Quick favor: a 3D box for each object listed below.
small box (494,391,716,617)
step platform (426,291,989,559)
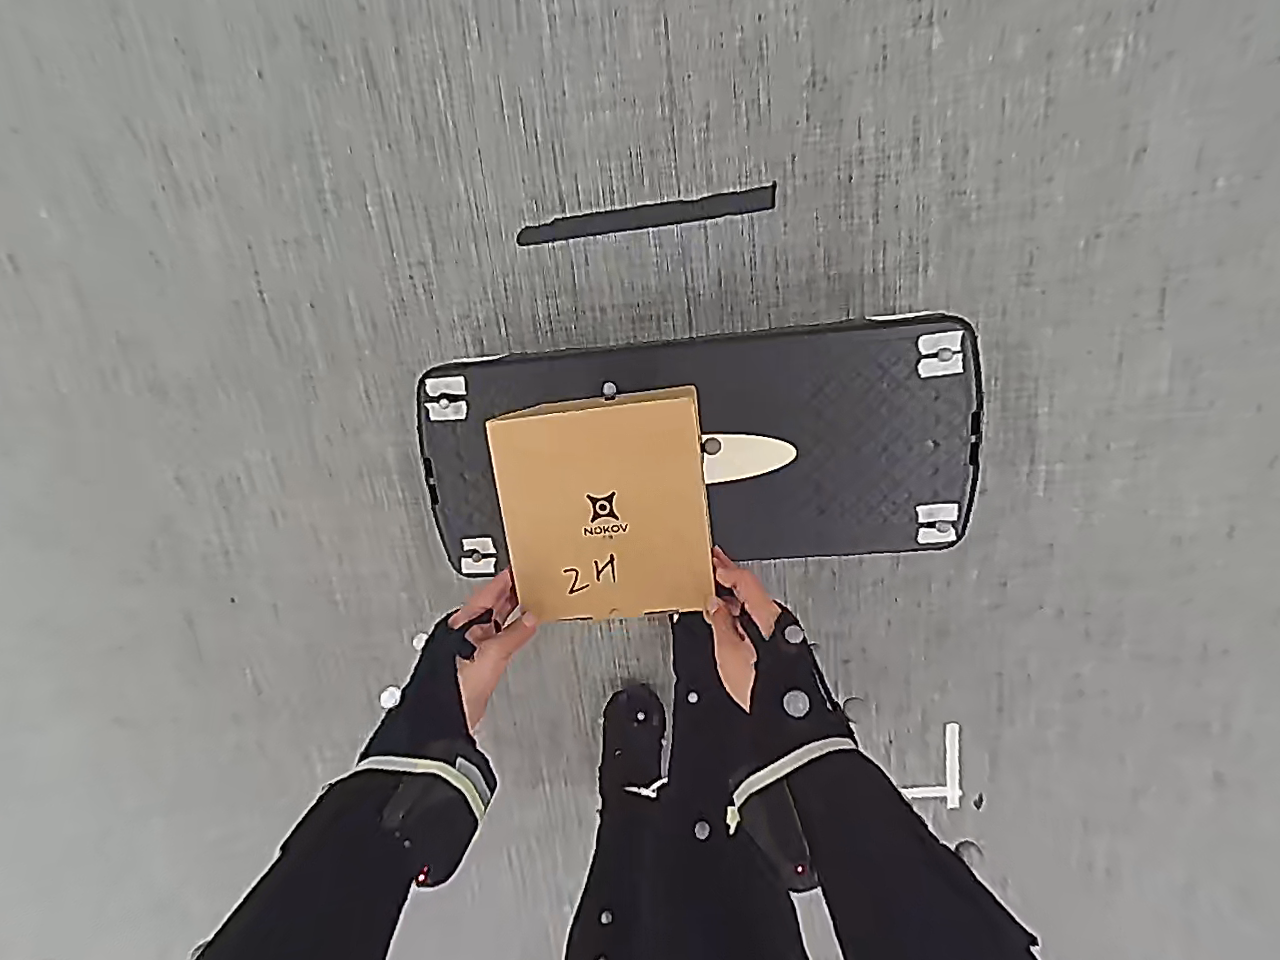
[{"bbox_3d":[-0.021,0.010,0.516,0.168,0.176,0.179,-6,101,7],"label":"small box"},{"bbox_3d":[0.075,-0.069,0.727,0.684,0.204,0.286,-5,103,6],"label":"step platform"}]
